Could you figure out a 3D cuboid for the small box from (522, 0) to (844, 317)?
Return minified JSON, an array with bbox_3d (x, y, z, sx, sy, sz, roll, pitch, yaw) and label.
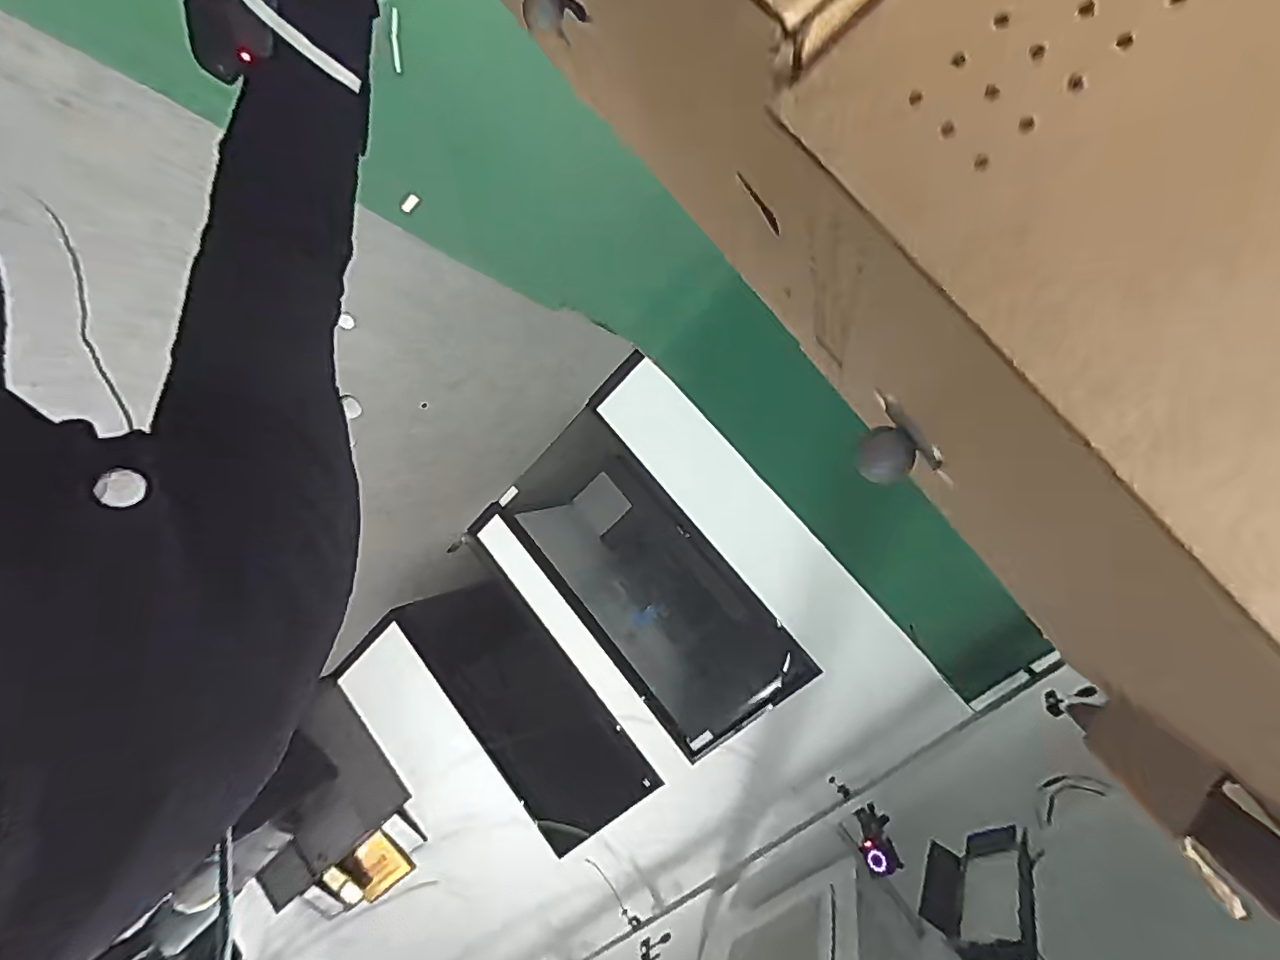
[{"bbox_3d":[0.056,-0.183,0.152,0.179,0.176,0.168,-38,169,14],"label":"small box"}]
